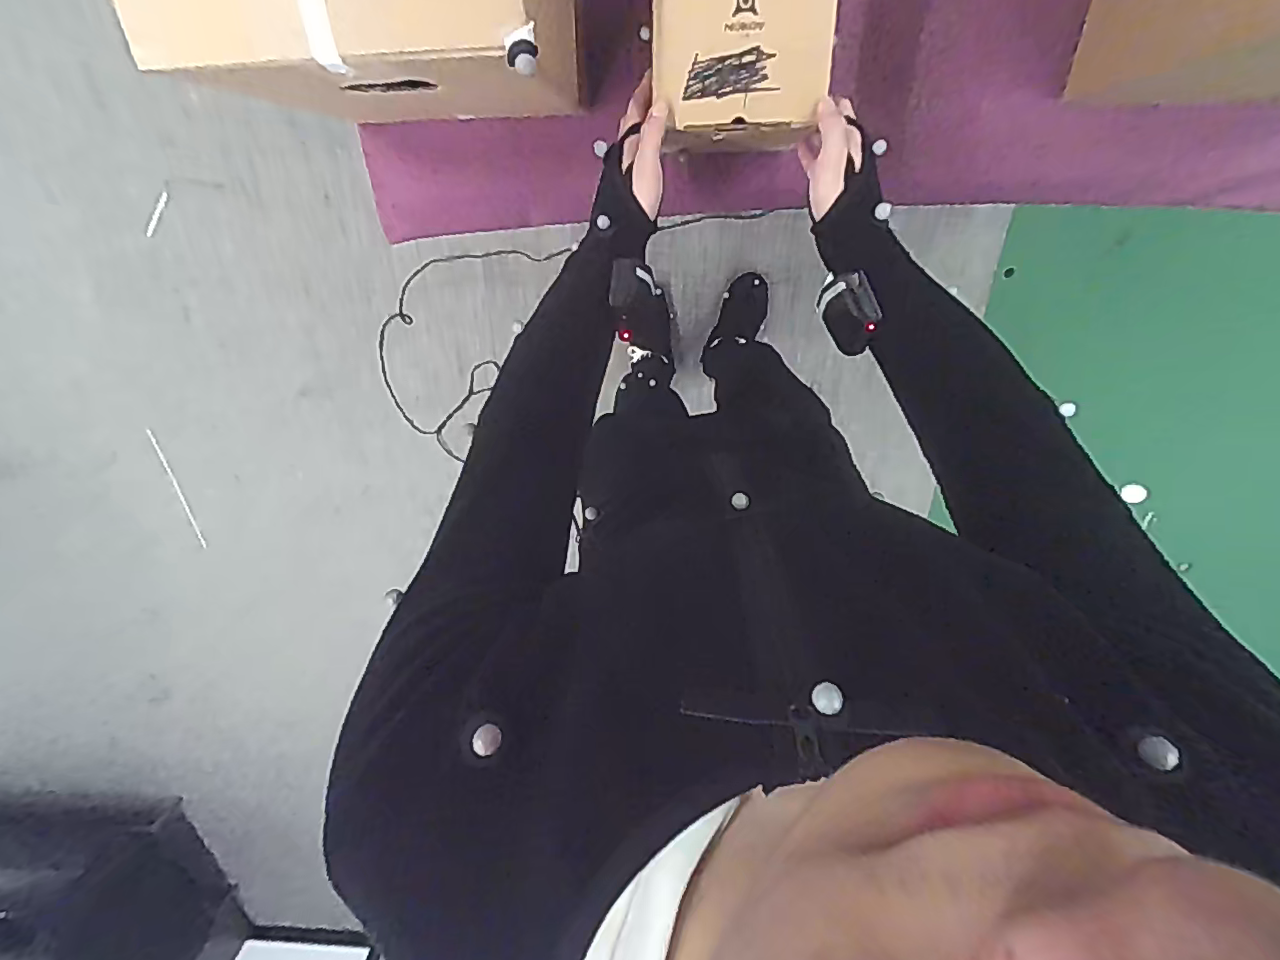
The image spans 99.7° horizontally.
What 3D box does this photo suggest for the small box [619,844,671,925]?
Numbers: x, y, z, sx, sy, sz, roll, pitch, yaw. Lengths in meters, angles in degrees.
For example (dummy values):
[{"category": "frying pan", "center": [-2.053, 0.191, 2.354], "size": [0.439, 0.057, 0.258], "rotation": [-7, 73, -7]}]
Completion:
[{"category": "small box", "center": [0.022, 1.394, 1.865], "size": [0.168, 0.176, 0.179], "rotation": [-2, 118, 4]}]
